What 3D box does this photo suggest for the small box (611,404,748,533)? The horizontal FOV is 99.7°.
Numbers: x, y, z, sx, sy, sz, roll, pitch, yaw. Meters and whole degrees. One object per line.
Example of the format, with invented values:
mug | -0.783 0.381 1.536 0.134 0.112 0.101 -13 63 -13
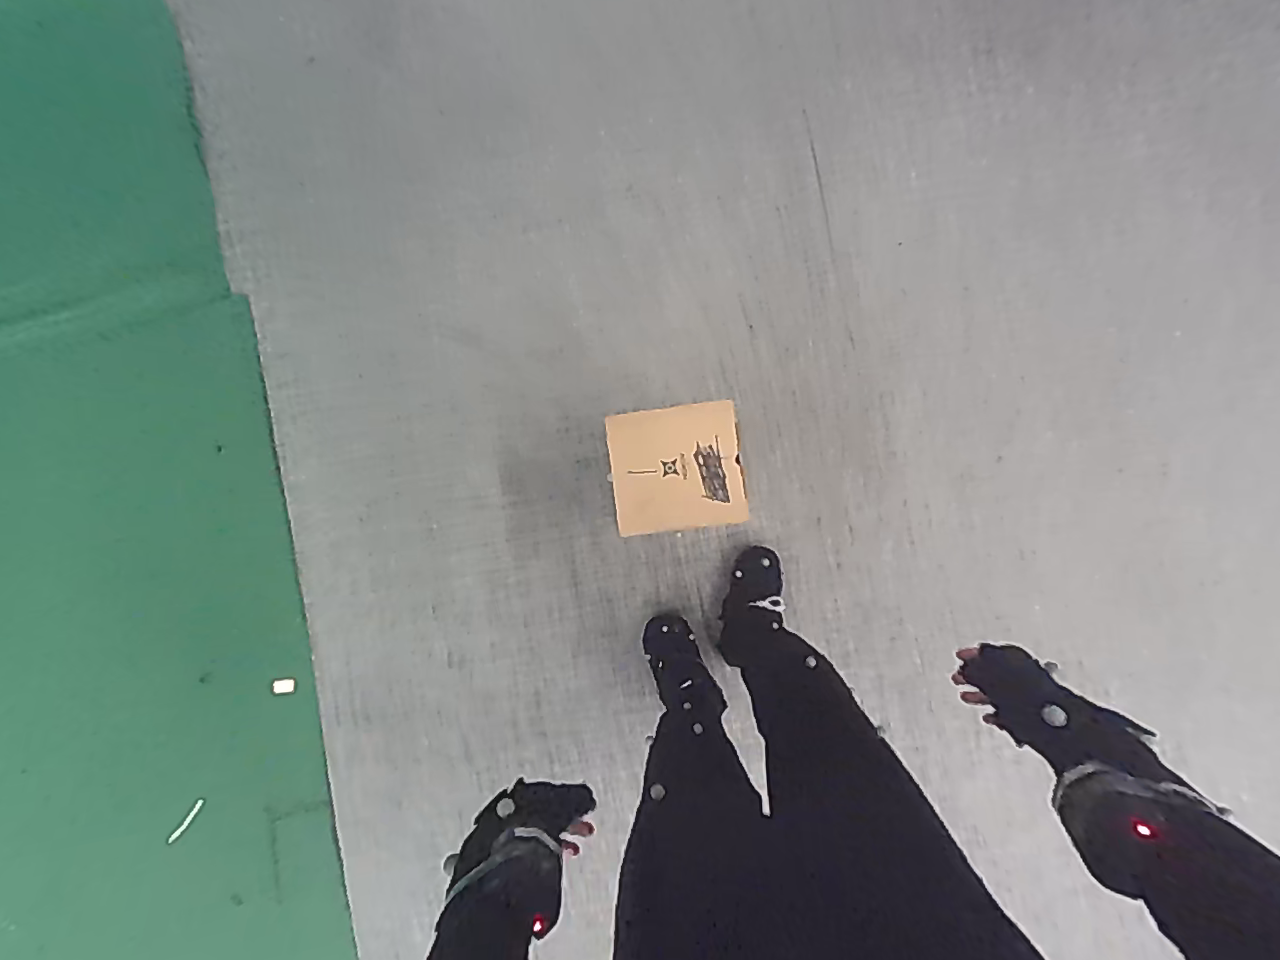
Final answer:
small box | 0.055 -0.011 0.798 0.179 0.176 0.168 -5 86 3
